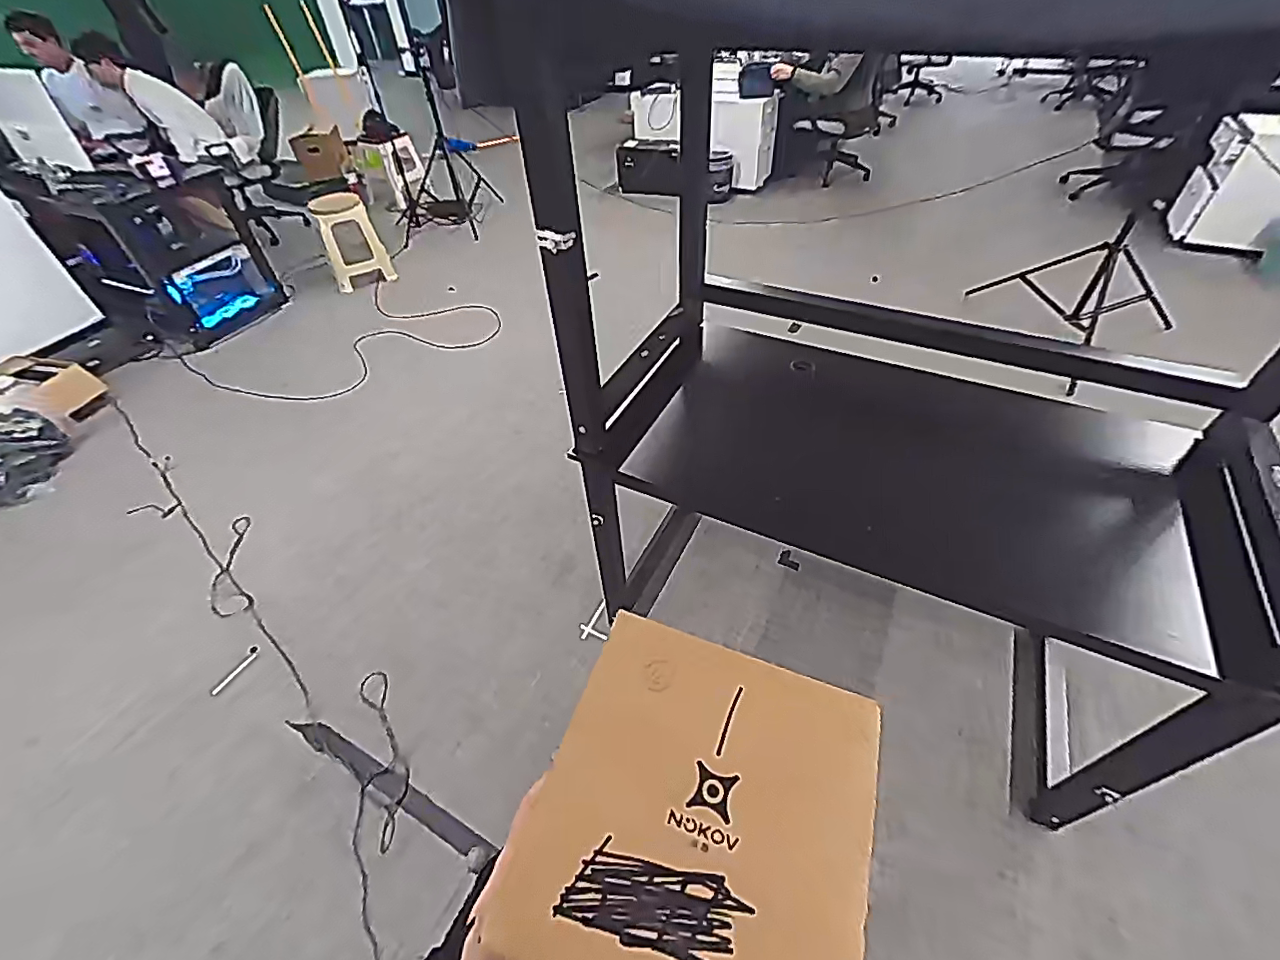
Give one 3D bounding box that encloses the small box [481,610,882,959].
[{"bbox_3d":[0.031,0.218,0.337,0.168,0.176,0.179,17,51,11],"label":"small box"}]
